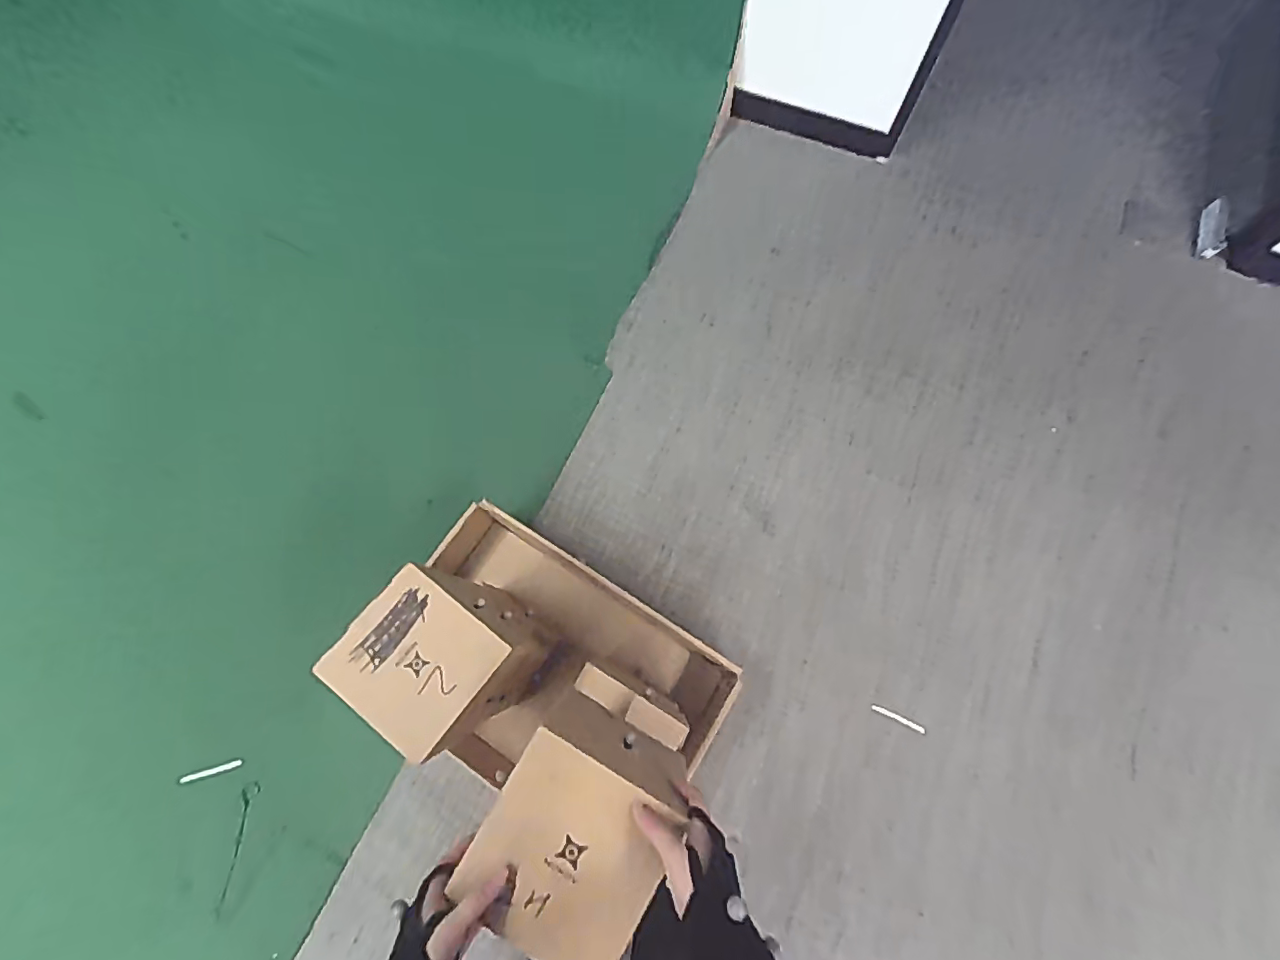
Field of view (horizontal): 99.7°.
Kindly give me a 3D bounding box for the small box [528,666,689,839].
[{"bbox_3d":[-0.040,0.402,0.837,0.179,0.176,0.168,29,76,12],"label":"small box"}]
